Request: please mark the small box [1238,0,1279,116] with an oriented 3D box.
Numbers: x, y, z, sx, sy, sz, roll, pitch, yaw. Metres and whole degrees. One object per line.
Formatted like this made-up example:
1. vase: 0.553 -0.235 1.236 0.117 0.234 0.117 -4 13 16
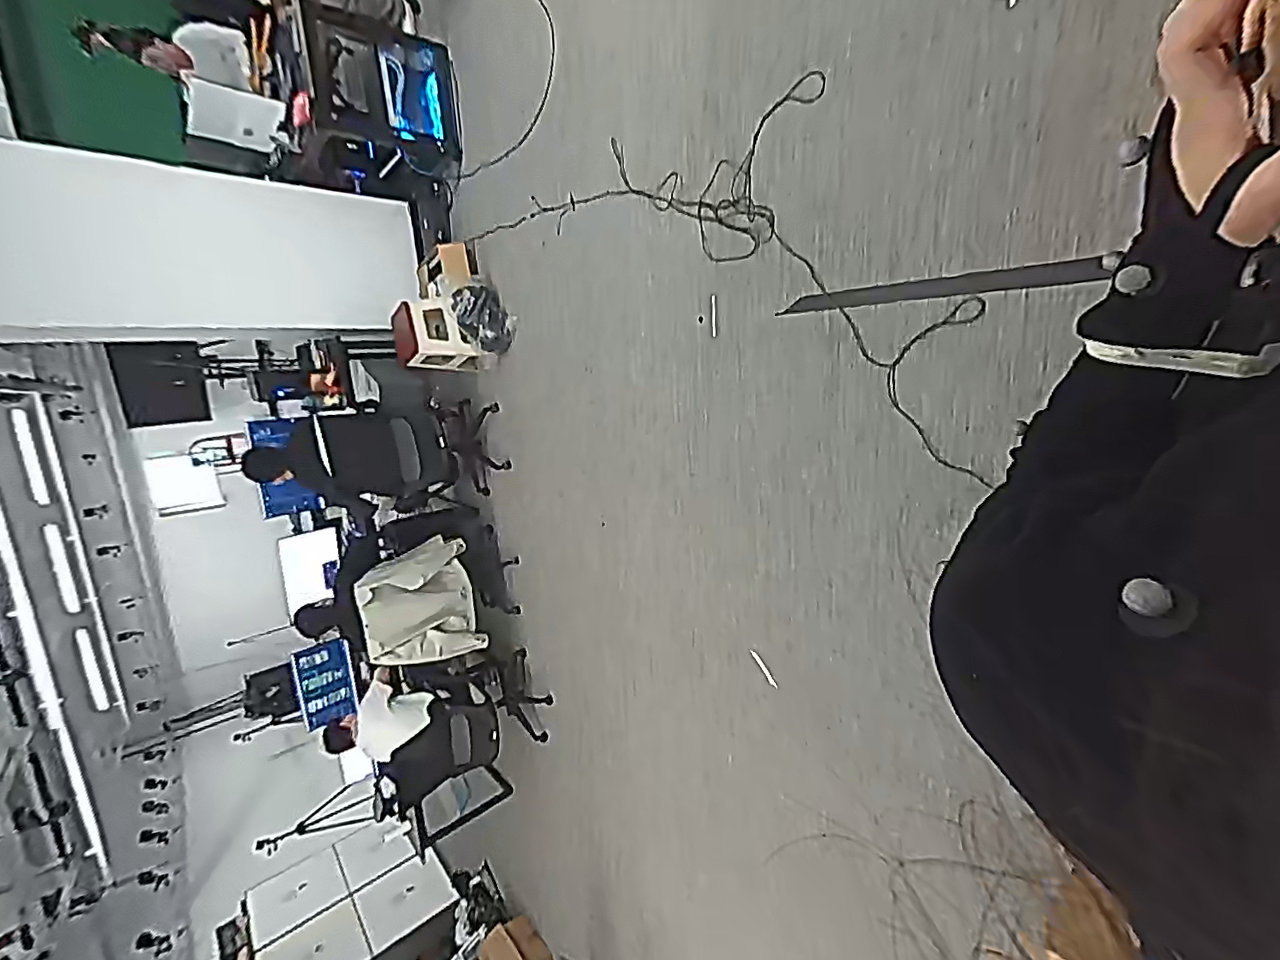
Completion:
1. small box: 0.347 -0.271 0.196 0.168 0.176 0.179 1 92 50
